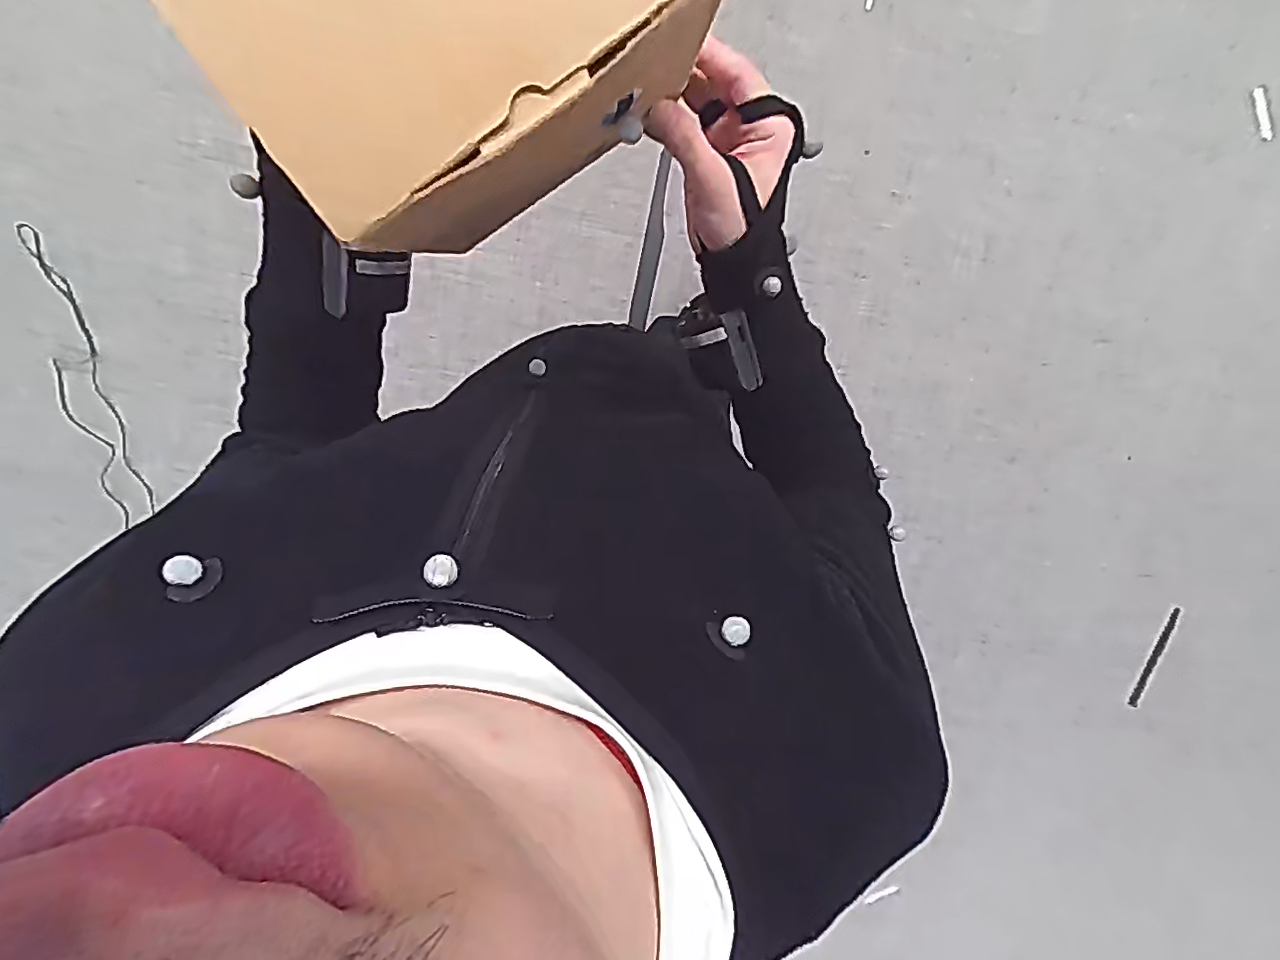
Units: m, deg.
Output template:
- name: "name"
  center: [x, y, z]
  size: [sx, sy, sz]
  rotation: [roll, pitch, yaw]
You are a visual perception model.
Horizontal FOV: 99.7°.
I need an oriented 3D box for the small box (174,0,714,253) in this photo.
- name: "small box"
  center: [-0.085, -0.226, 0.240]
  size: [0.168, 0.176, 0.179]
  rotation: [-32, 110, 9]
